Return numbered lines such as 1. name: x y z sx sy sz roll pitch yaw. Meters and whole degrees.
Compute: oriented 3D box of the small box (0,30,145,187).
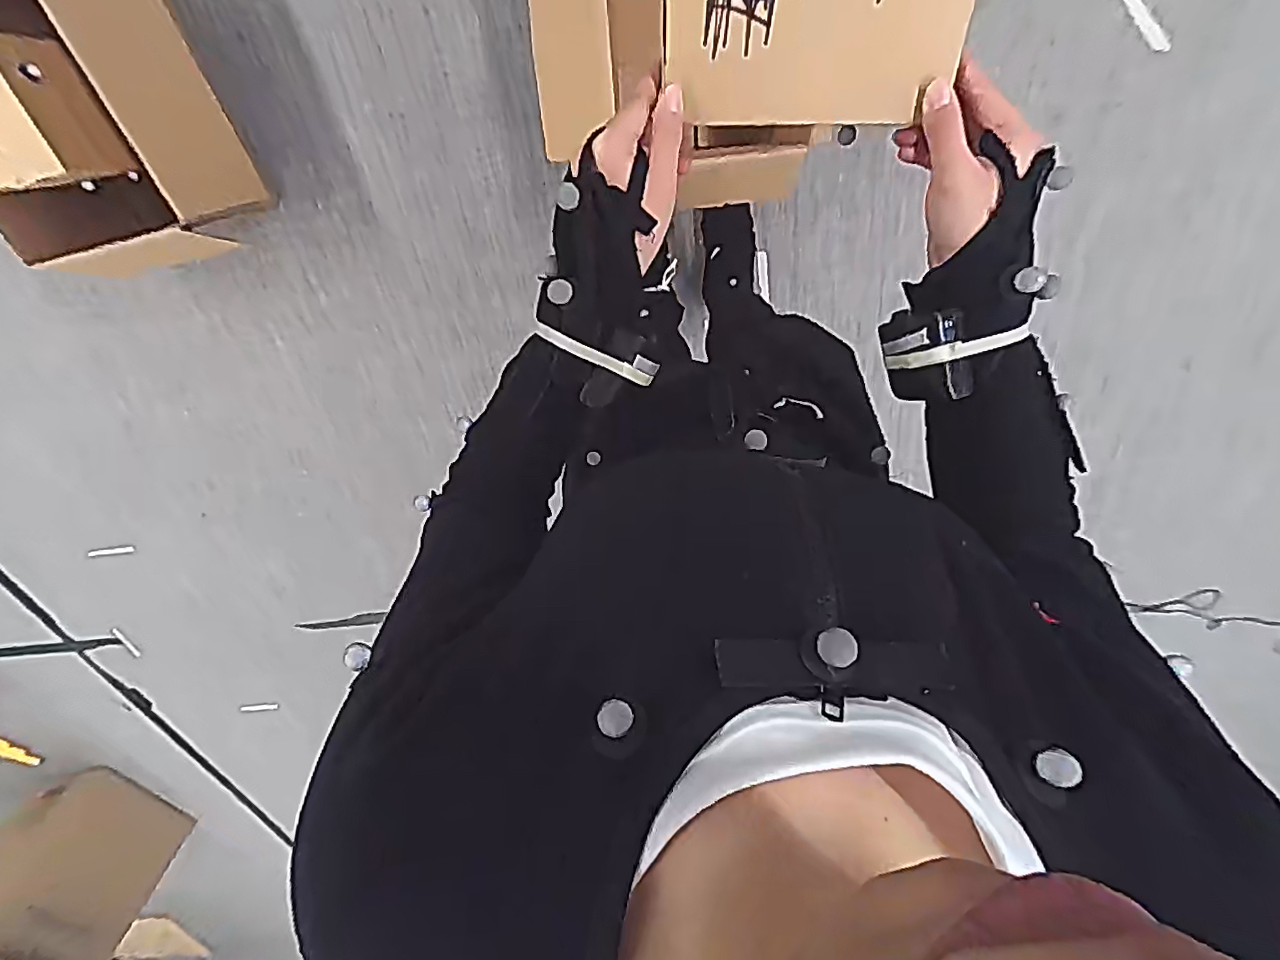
1. small box: -0.956 -0.572 0.845 0.168 0.176 0.179 -8 124 6
